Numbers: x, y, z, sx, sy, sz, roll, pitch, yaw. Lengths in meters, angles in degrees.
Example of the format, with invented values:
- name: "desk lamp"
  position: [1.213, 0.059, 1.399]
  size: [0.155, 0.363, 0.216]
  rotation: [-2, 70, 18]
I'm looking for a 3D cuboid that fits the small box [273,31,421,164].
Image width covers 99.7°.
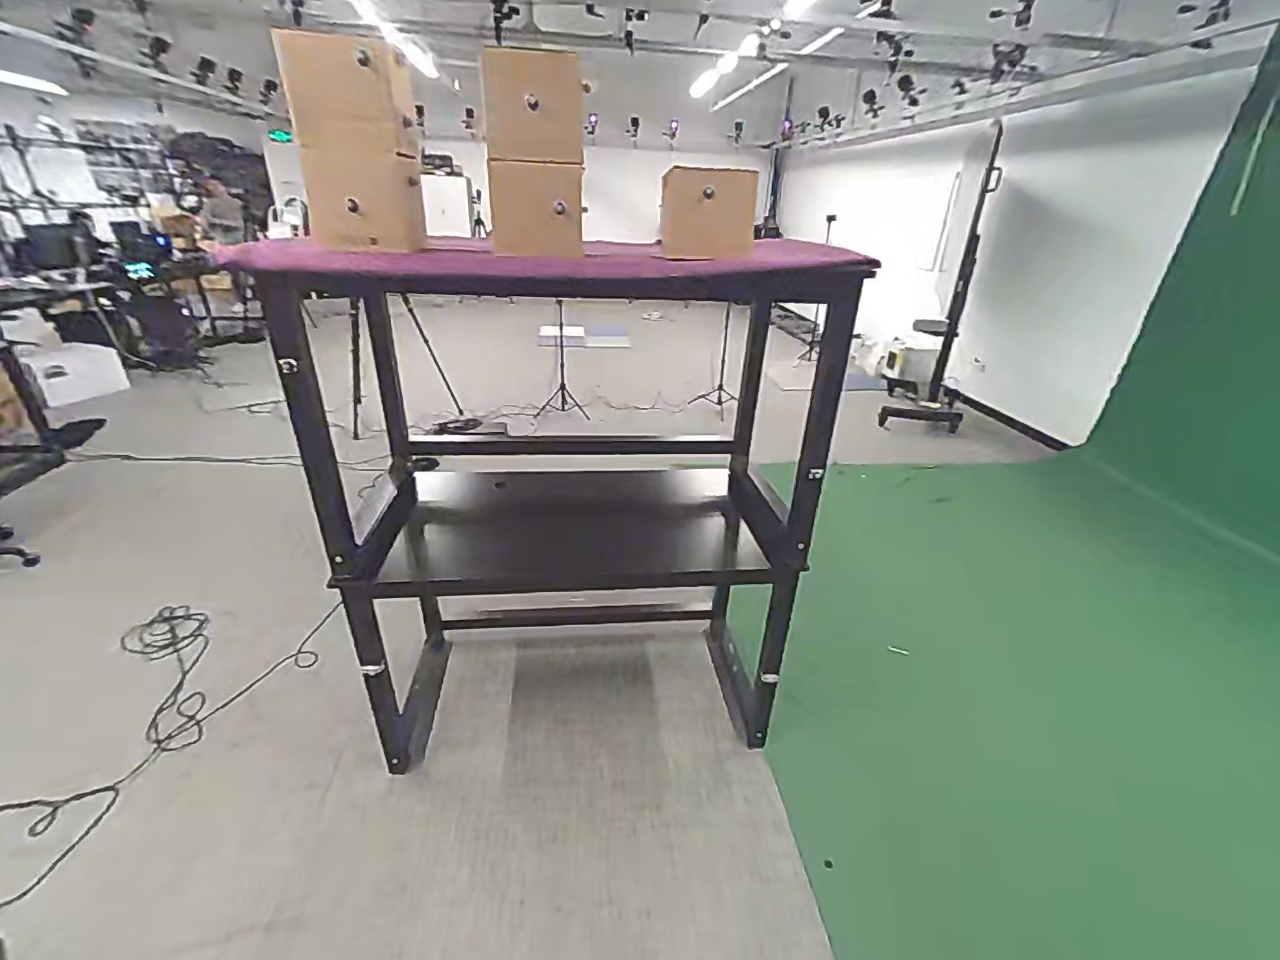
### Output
- name: "small box"
  position: [-0.512, -0.676, 0.975]
  size: [0.179, 0.176, 0.168]
  rotation: [-1, 28, -9]

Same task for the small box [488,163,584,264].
- name: "small box"
  position: [-0.203, -0.538, 1.095]
  size: [0.179, 0.176, 0.168]
  rotation: [-2, 27, -7]

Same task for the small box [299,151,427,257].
- name: "small box"
  position: [-0.521, -0.531, 1.049]
  size: [0.168, 0.176, 0.179]
  rotation: [0, 27, -8]

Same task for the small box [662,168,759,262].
- name: "small box"
  position: [0.140, -0.558, 1.154]
  size: [0.179, 0.176, 0.168]
  rotation: [-1, 25, -5]
